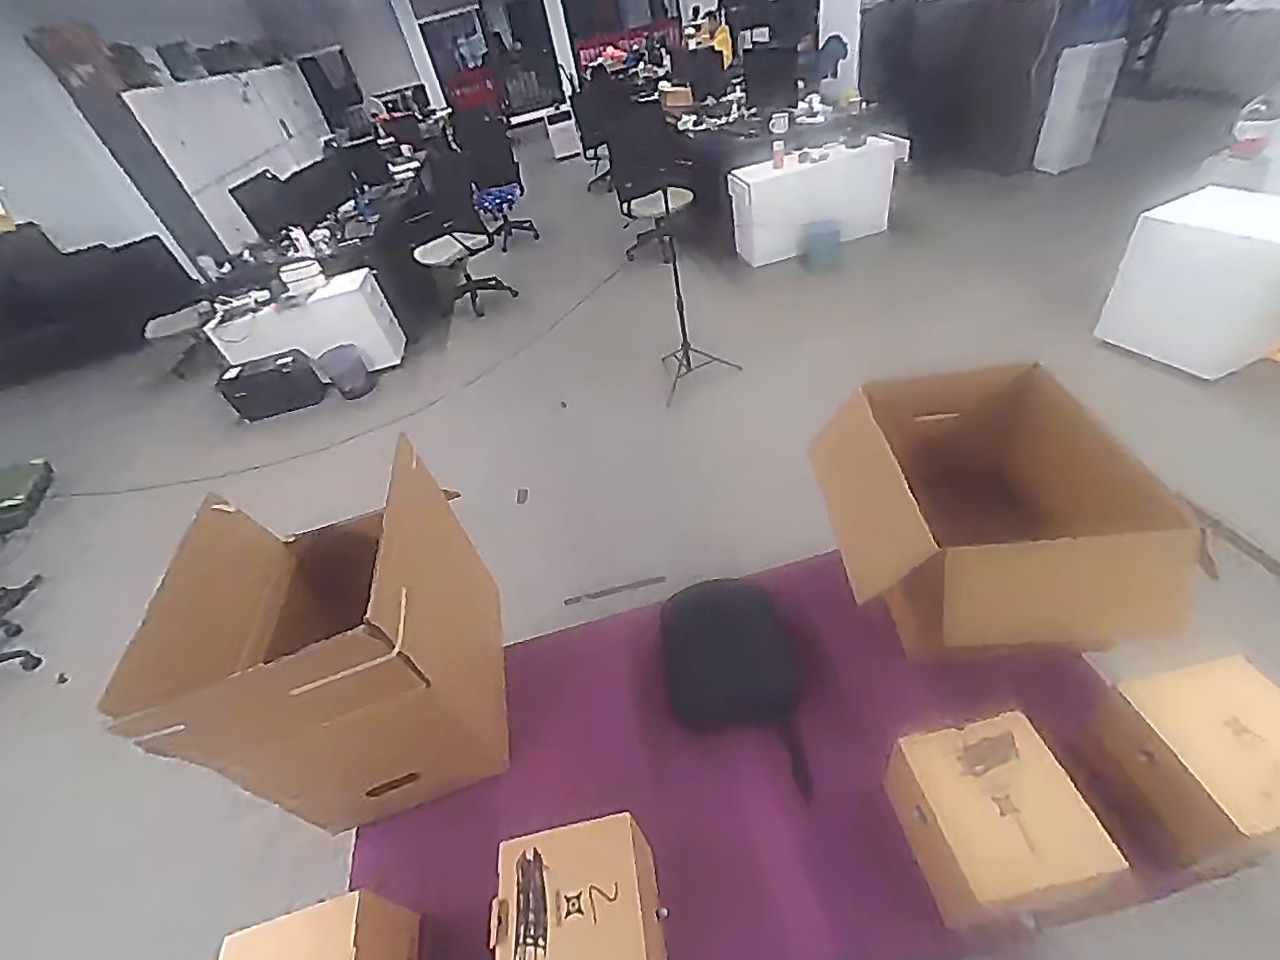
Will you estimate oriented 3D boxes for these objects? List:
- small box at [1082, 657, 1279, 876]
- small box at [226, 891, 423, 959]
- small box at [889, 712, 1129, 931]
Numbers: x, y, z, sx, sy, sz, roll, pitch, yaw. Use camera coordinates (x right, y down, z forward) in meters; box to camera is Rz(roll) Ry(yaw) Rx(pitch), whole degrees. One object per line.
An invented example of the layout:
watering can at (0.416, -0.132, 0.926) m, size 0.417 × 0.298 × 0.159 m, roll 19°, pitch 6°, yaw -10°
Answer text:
small box at (0.711, 0.356, 0.675) m, size 0.168 × 0.176 × 0.179 m, roll -14°, pitch 40°, yaw 2°
small box at (-0.398, 0.659, 0.676) m, size 0.179 × 0.176 × 0.168 m, roll -17°, pitch 41°, yaw -4°
small box at (0.436, 0.429, 0.680) m, size 0.168 × 0.176 × 0.179 m, roll -14°, pitch 41°, yaw 1°
